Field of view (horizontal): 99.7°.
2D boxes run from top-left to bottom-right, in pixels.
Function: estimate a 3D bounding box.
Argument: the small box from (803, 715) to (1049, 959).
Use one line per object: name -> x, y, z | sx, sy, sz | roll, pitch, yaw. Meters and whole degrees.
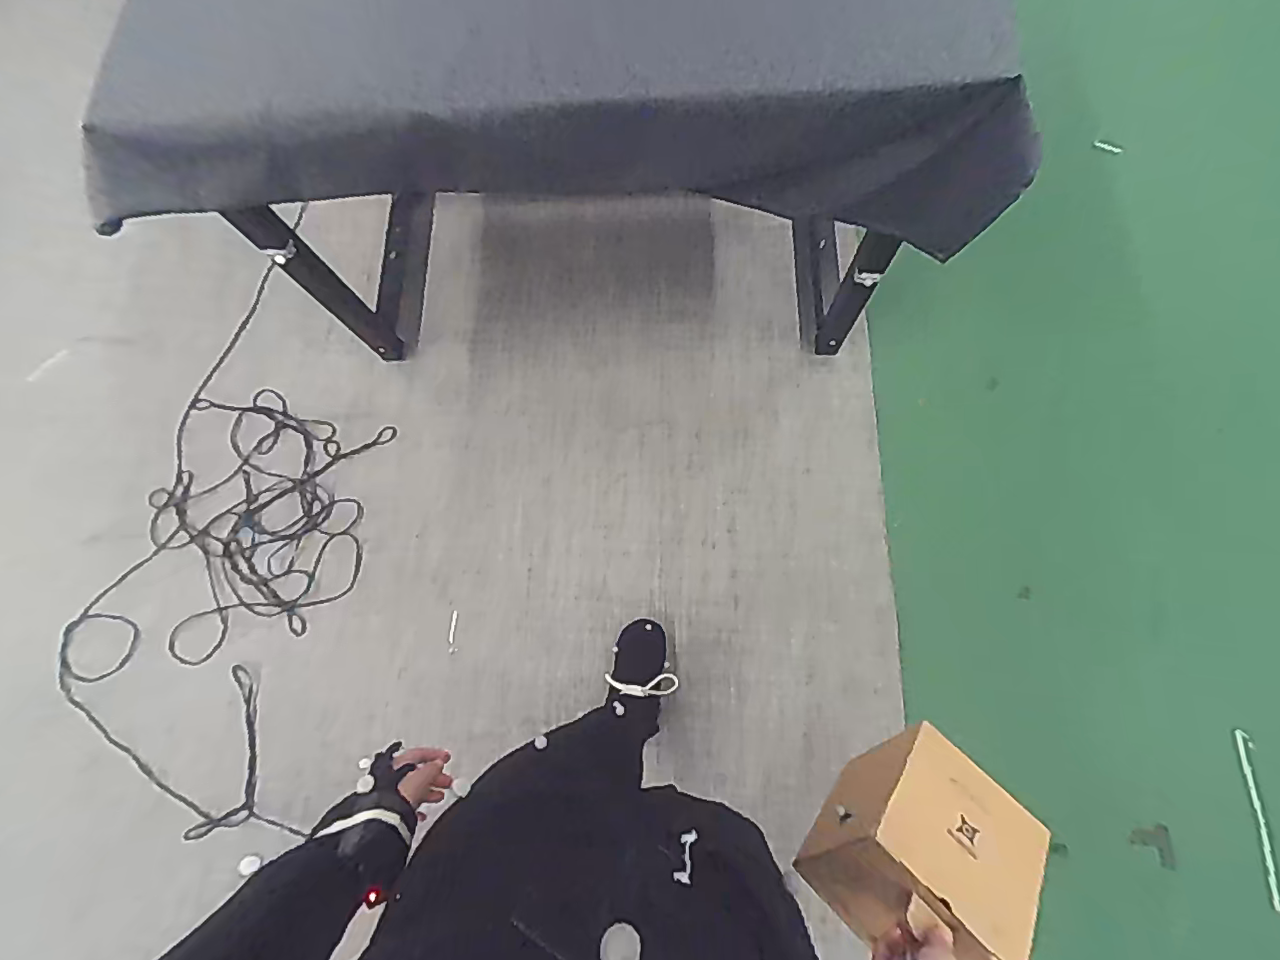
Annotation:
small box -> 0.315, 0.418, 0.619 | 0.168, 0.176, 0.179 | 43, 44, 17
